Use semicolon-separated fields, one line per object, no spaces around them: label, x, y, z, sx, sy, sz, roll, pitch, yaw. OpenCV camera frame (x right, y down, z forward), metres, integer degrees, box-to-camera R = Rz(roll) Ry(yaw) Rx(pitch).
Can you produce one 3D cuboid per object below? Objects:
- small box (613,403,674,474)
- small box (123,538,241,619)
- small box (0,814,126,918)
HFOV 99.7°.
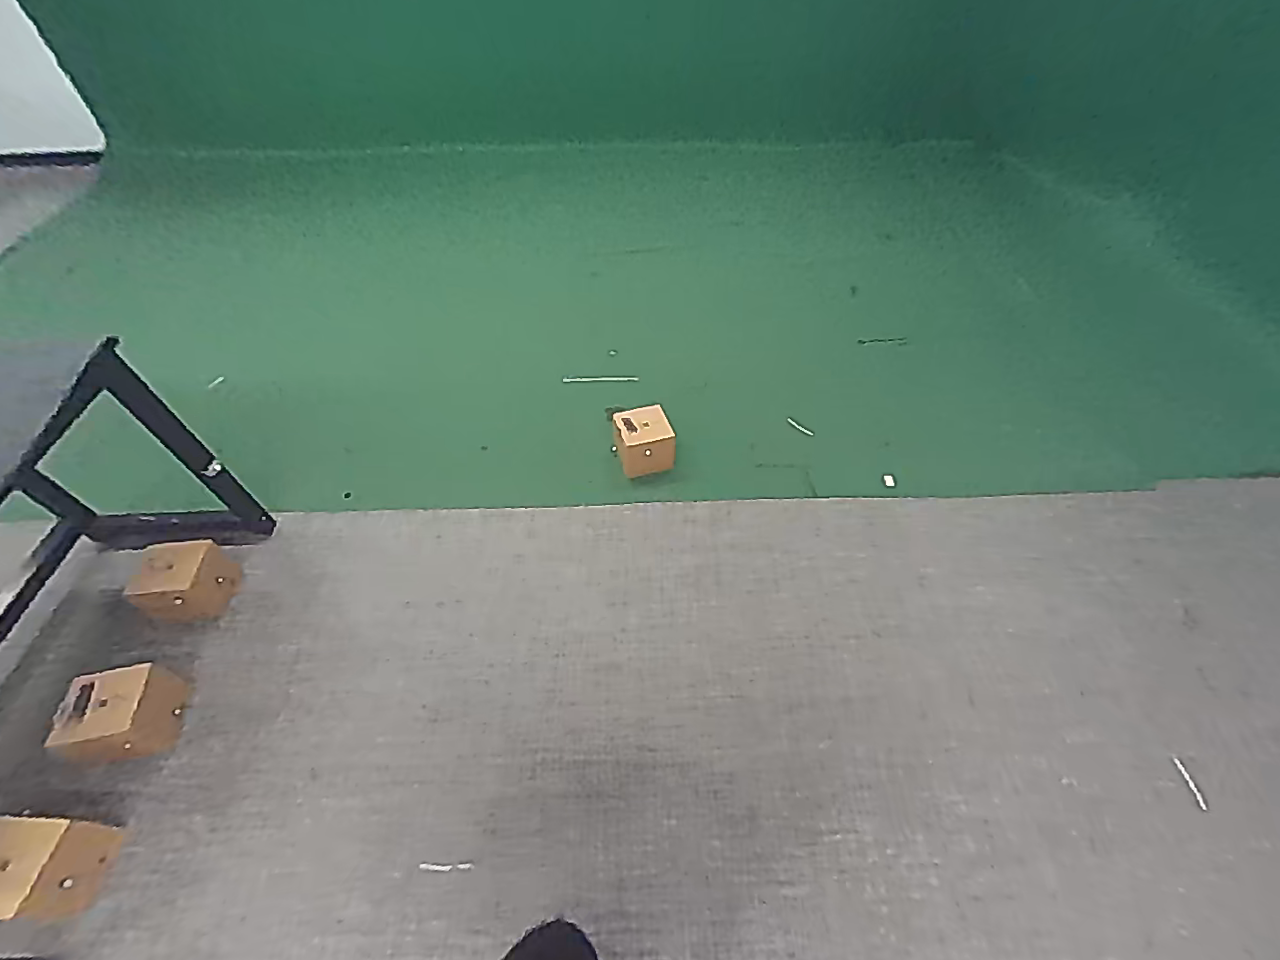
small box;0.012;-0.141;1.902;0.179;0.176;0.168;-14;52;-11
small box;-1.314;0.288;1.570;0.179;0.176;0.168;-6;51;-4
small box;-1.271;0.818;1.146;0.179;0.176;0.168;1;51;2
